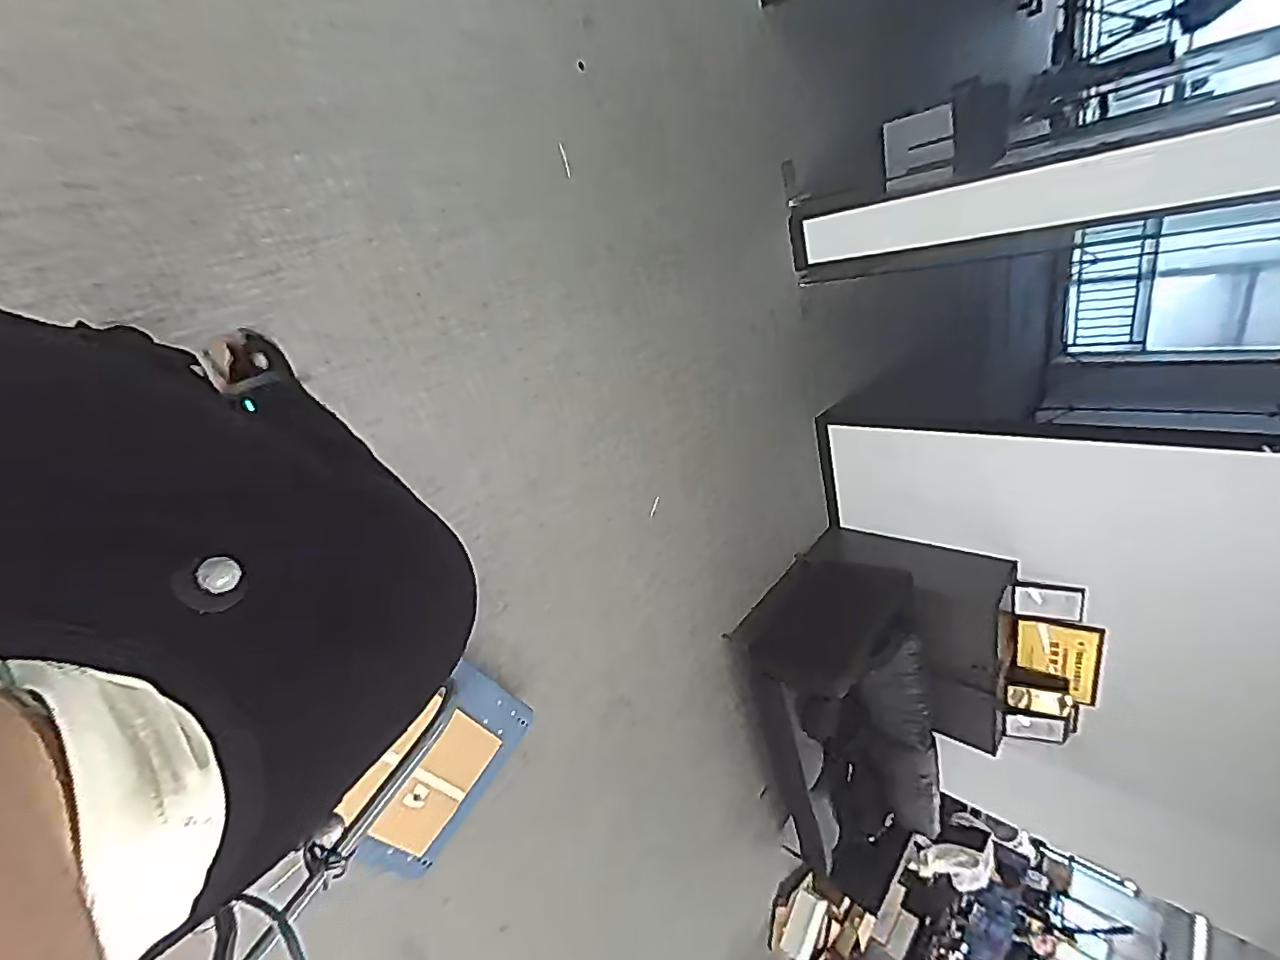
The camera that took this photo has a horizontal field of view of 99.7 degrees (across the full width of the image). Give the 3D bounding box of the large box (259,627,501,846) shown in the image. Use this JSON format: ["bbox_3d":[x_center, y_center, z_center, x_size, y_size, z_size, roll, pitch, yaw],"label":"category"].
[{"bbox_3d":[-0.650,0.641,1.381,0.320,0.320,0.408,-52,131,-25],"label":"large box"}]
